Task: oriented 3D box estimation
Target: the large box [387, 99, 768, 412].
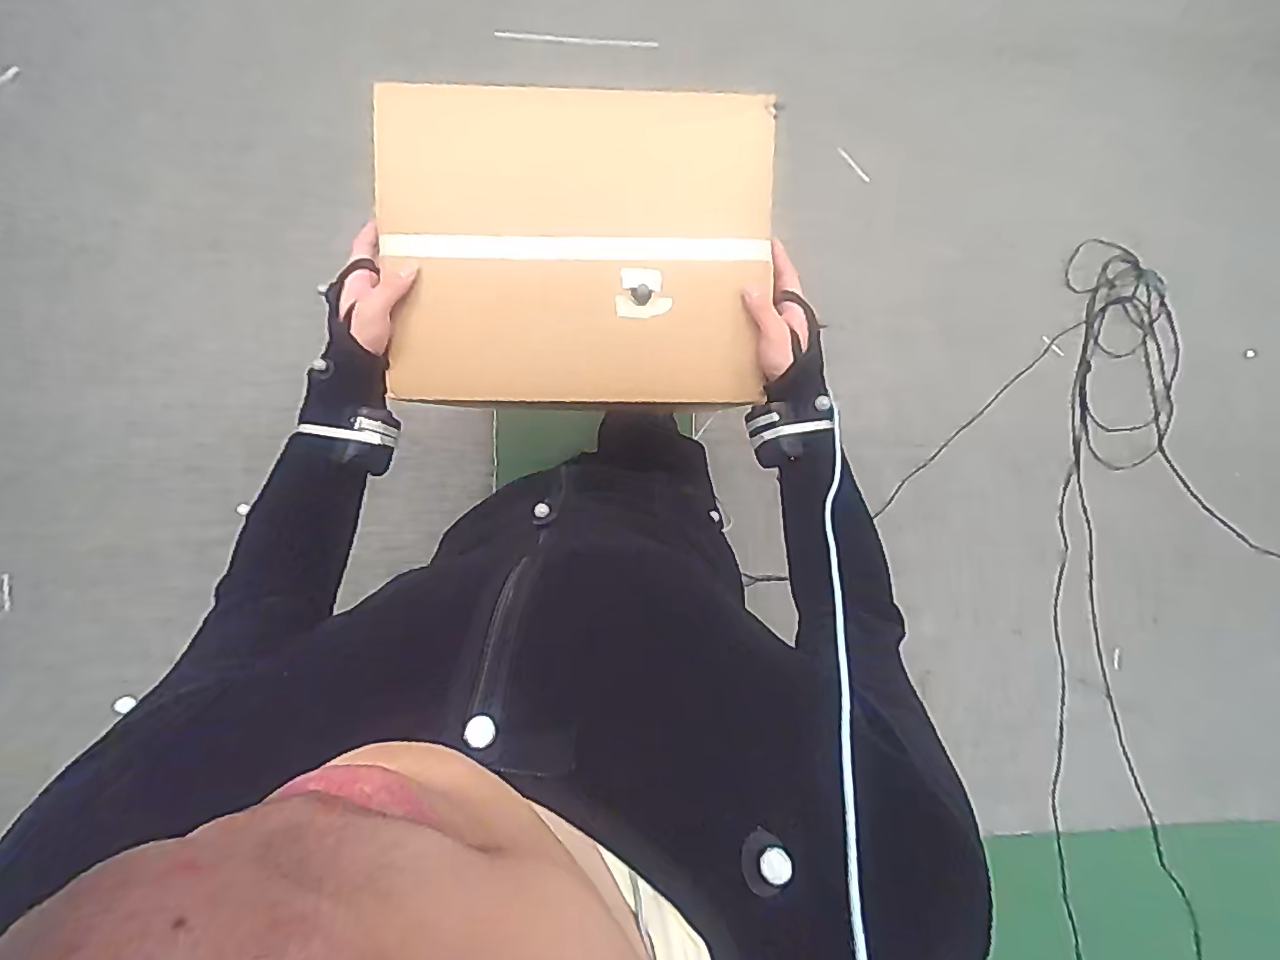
[{"bbox_3d":[-0.070,-0.254,0.724,0.408,0.320,0.320,0,96,-3],"label":"large box"}]
